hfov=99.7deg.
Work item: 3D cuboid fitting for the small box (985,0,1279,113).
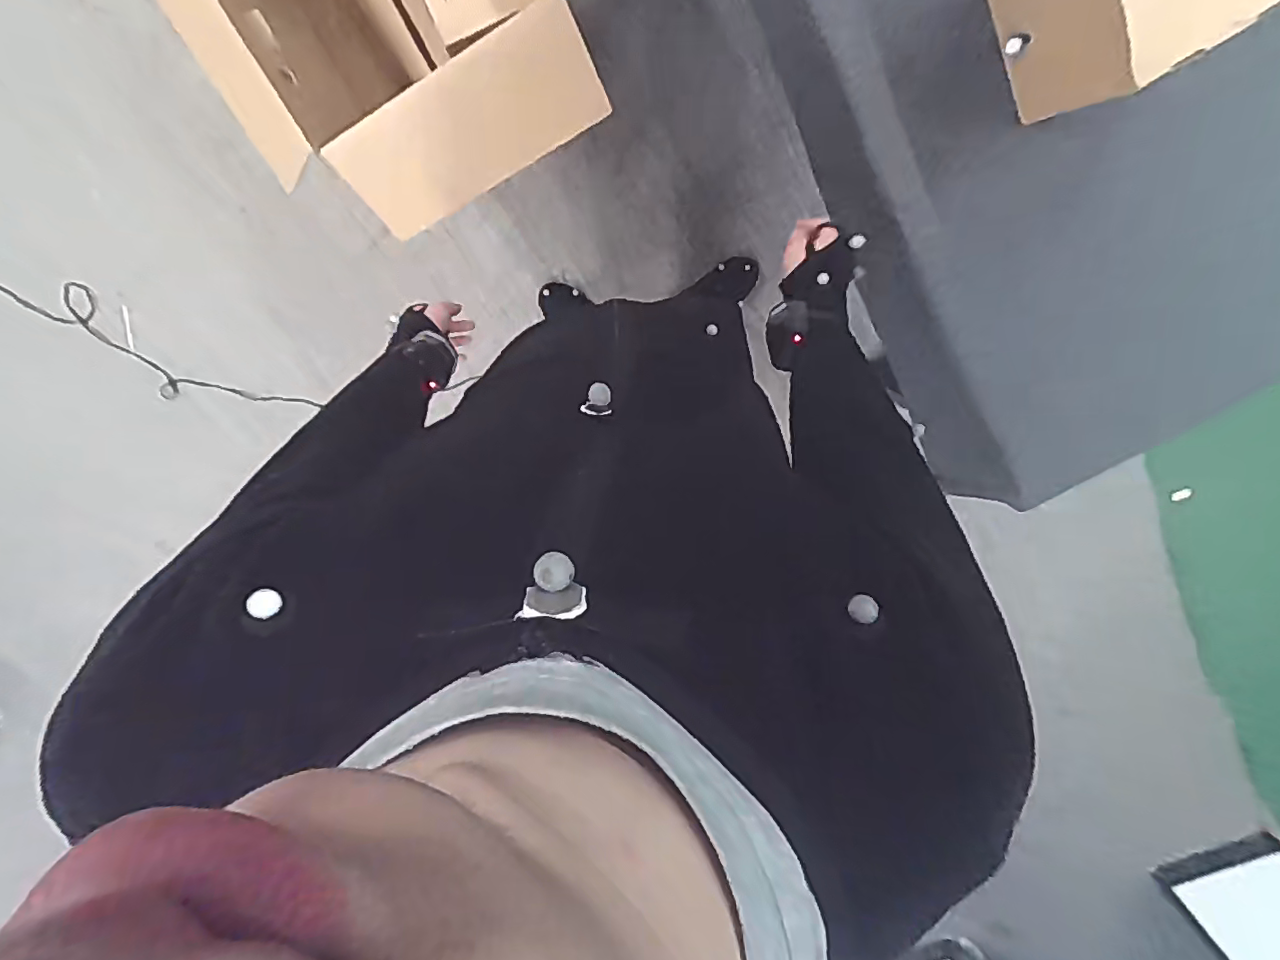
[{"bbox_3d":[0.480,-0.499,0.533,0.168,0.176,0.179,-29,111,12],"label":"small box"}]
